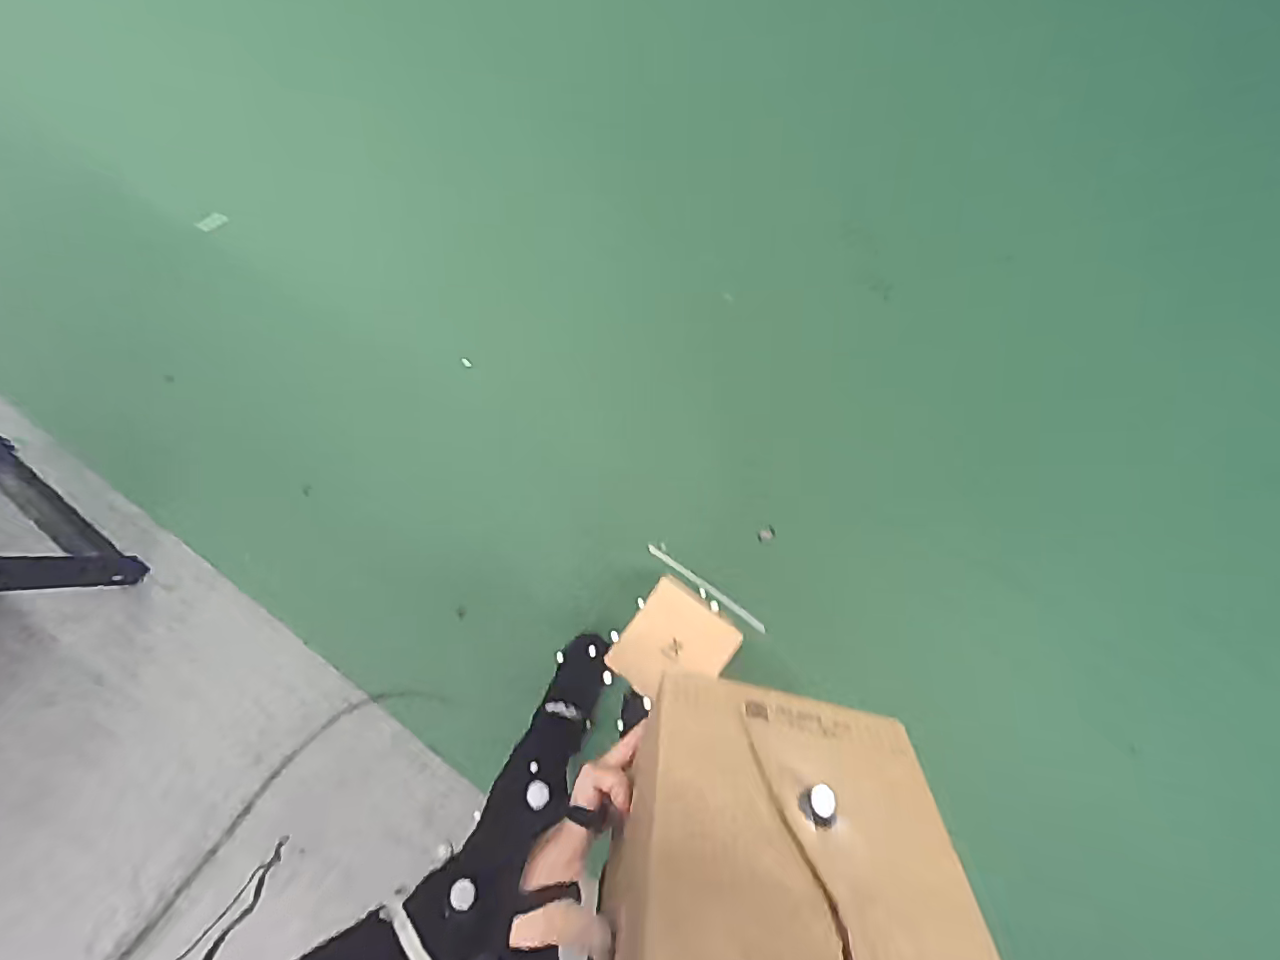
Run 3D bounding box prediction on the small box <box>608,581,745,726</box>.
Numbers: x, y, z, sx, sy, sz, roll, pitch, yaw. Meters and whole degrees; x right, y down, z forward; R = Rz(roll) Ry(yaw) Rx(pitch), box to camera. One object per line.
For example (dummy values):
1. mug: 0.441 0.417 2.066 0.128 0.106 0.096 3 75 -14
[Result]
1. small box: 0.063 0.295 0.967 0.168 0.176 0.179 35 85 9
